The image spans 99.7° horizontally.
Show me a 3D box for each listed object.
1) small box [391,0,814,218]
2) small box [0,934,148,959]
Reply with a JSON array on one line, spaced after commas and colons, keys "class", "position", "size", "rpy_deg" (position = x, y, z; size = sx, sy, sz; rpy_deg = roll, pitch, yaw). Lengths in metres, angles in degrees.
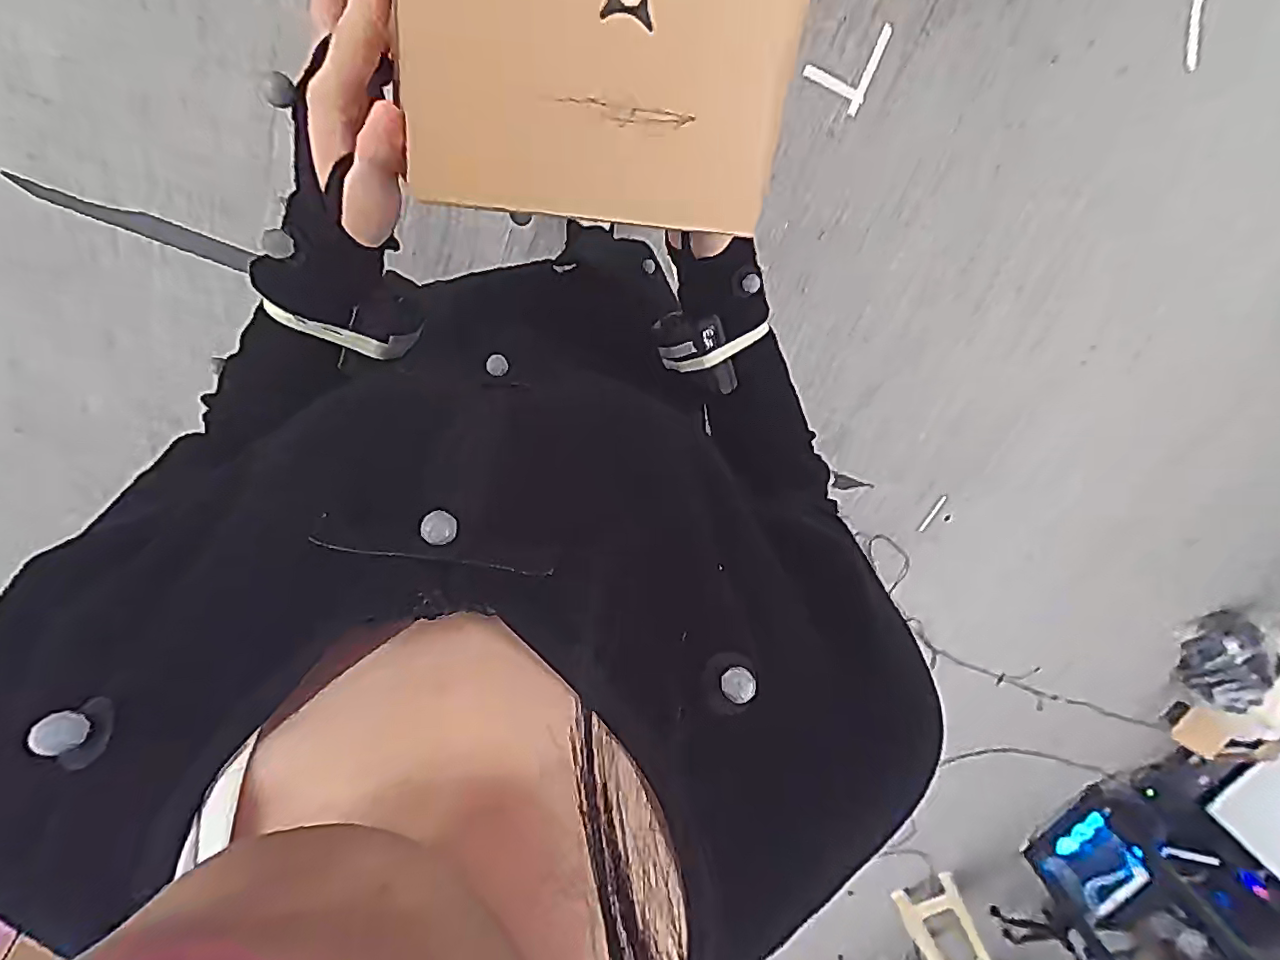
[{"class": "small box", "position": [-0.030, -0.243, 0.265], "size": [0.168, 0.176, 0.179], "rpy_deg": [-6, 123, -24]}, {"class": "small box", "position": [-0.864, 0.791, 0.778], "size": [0.179, 0.176, 0.168], "rpy_deg": [13, 115, -15]}]
